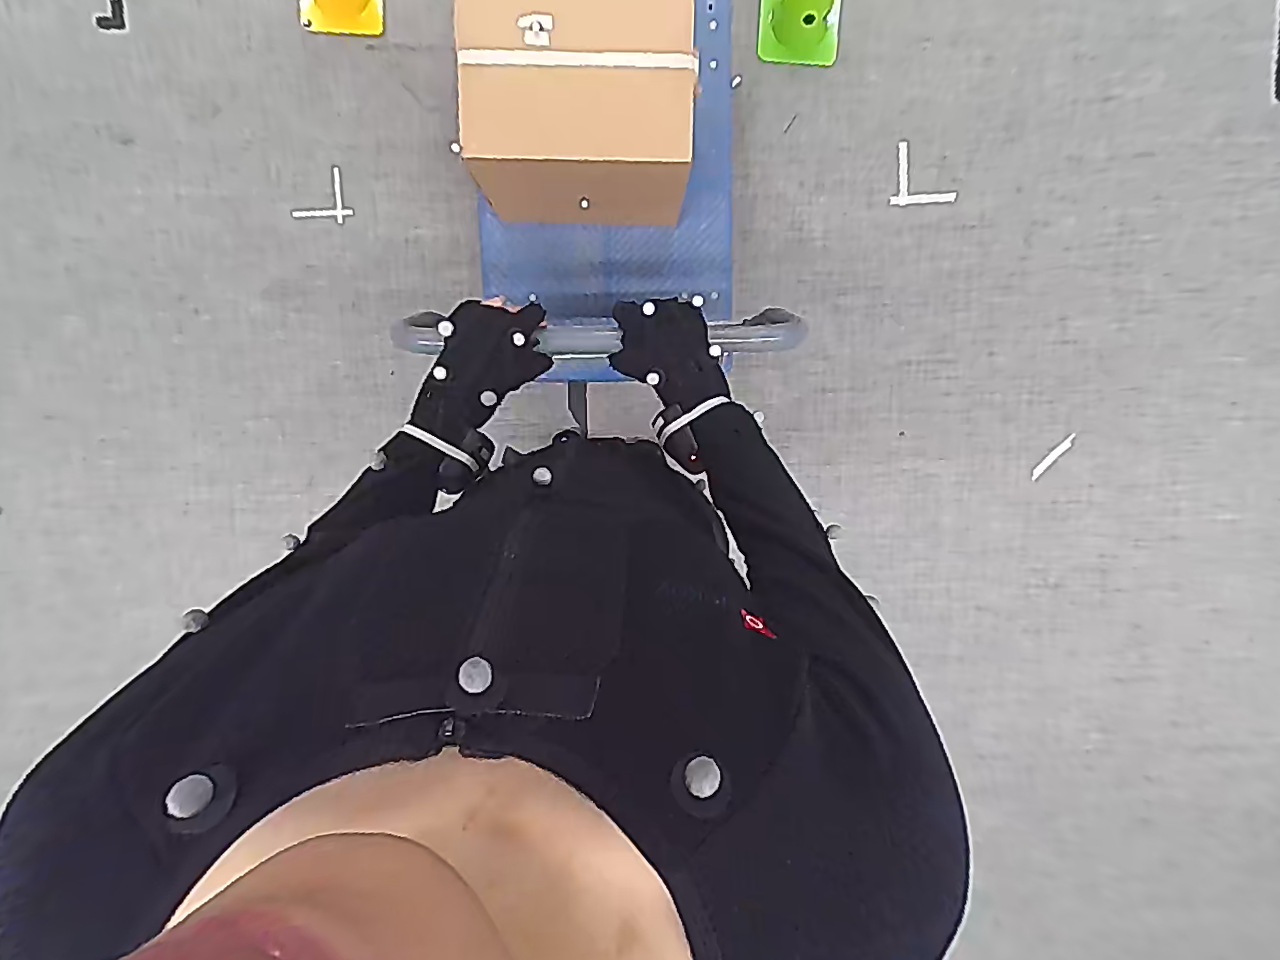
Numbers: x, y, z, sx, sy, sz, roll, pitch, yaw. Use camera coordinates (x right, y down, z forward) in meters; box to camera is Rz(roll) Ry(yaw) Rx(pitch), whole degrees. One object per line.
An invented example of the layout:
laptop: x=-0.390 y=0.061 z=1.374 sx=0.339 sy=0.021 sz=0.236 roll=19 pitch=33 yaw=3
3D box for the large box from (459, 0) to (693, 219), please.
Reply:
large box: x=-0.107 y=-0.729 z=1.073 sx=0.408 sy=0.320 sz=0.320 roll=0 pitch=96 yaw=0

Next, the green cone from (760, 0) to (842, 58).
green cone: x=0.410 y=-1.150 z=1.181 sx=0.202 sy=0.368 sz=0.200 roll=2 pitch=96 yaw=-3
